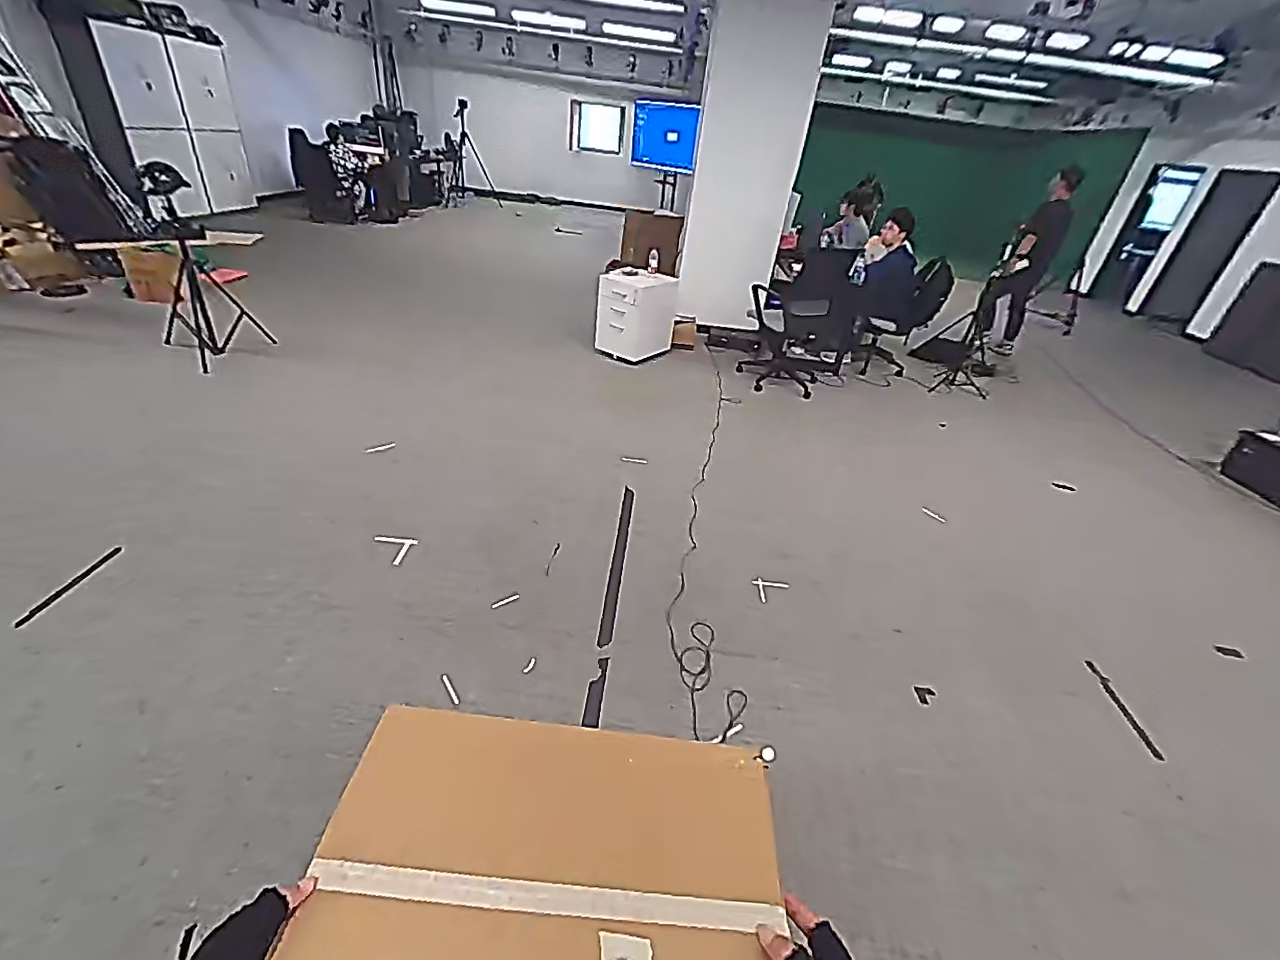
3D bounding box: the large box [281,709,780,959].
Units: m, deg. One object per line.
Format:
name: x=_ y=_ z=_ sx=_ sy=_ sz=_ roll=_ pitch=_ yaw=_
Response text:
large box: x=-0.098 y=0.481 z=0.554 sx=0.408 sy=0.320 sz=0.320 roll=8 pitch=34 yaw=-2
